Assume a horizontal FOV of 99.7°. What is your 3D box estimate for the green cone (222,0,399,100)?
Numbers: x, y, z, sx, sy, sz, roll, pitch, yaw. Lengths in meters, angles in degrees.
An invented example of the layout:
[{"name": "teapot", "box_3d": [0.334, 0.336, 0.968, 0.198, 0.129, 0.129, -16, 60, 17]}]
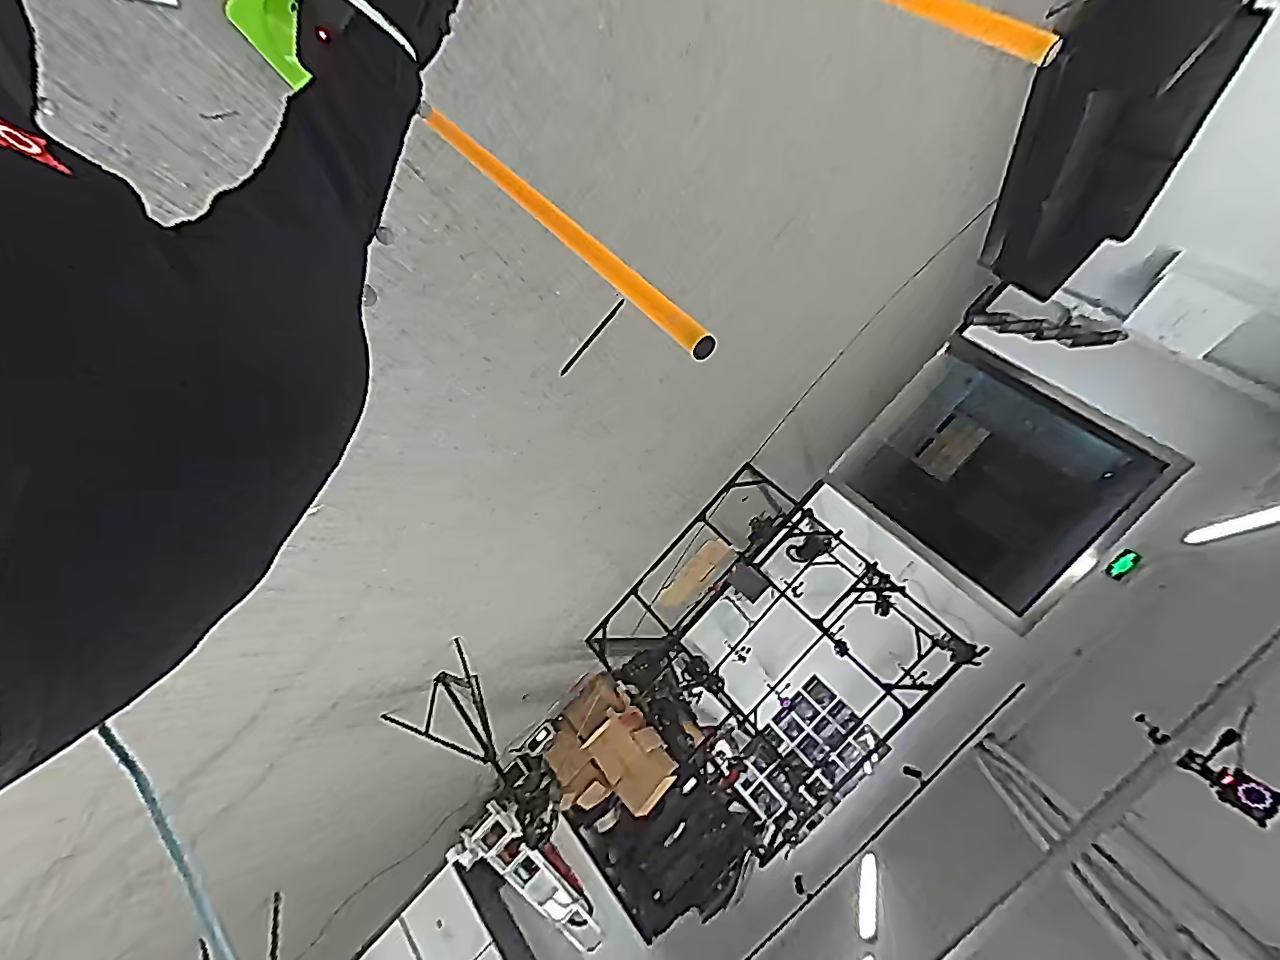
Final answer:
[{"name": "green cone", "box_3d": [-0.545, -0.784, 0.978, 0.200, 0.368, 0.202, -47, 156, 0]}]
